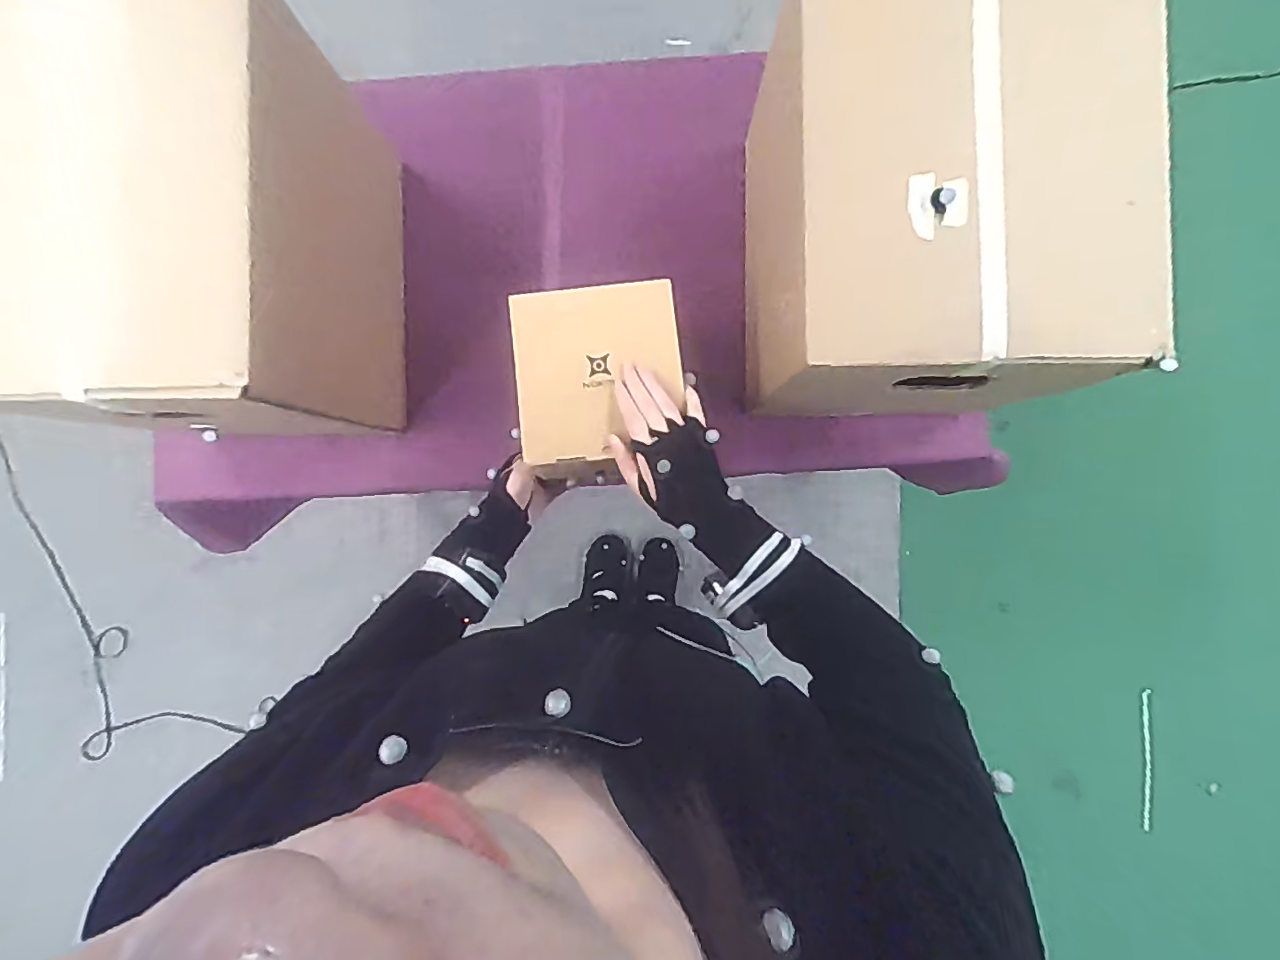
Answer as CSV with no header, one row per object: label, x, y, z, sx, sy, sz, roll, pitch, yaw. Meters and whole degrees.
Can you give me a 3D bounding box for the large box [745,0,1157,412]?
large box,0.307,-0.300,0.633,0.320,0.320,0.408,0,89,1
